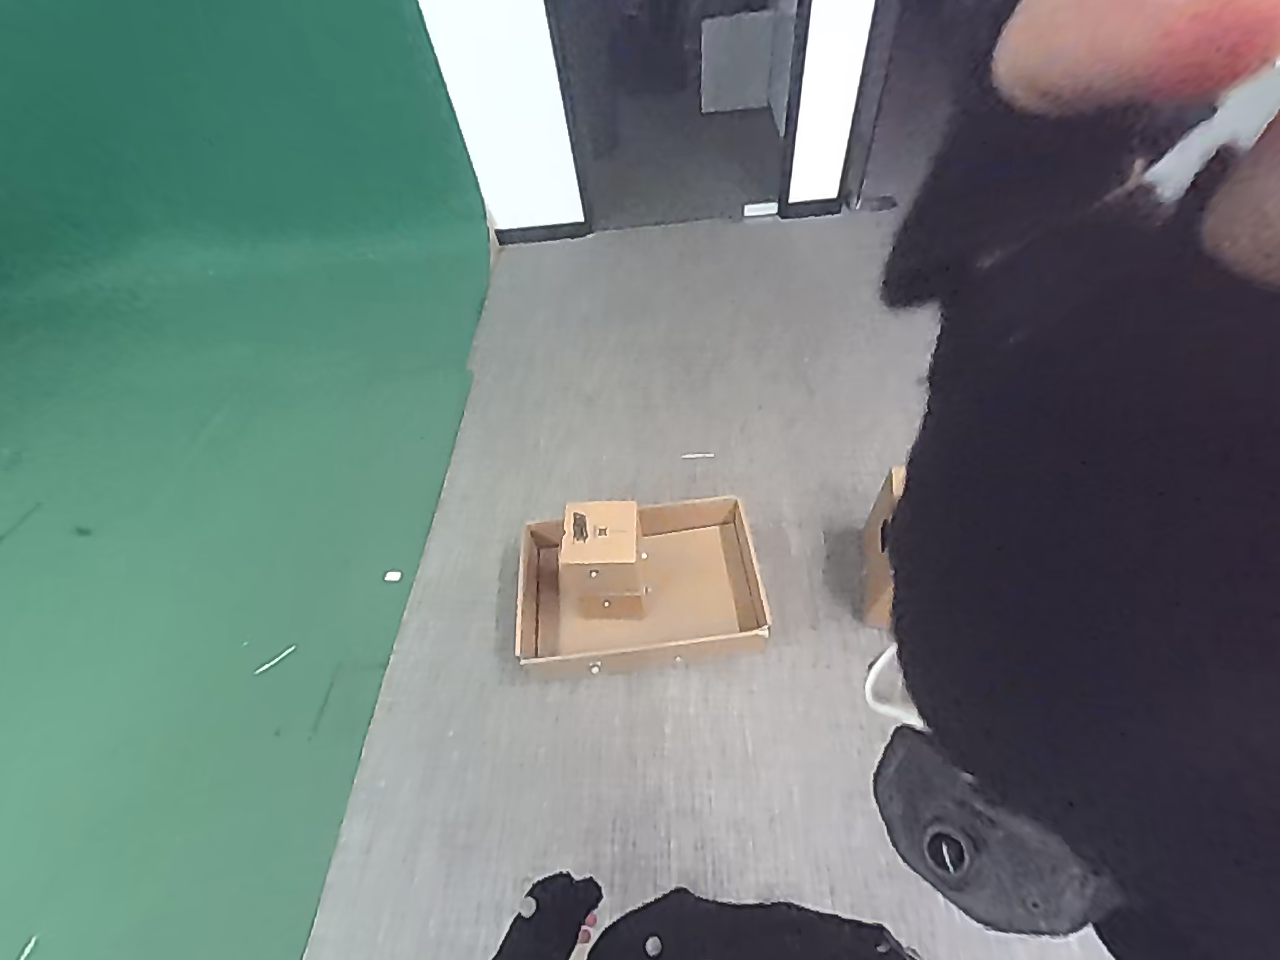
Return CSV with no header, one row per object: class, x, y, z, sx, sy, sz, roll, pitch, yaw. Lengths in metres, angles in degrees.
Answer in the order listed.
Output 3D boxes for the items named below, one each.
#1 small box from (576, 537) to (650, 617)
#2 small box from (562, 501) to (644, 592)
small box,-0.067,0.264,1.458,0.179,0.176,0.168,-1,55,3
small box,-0.083,0.167,1.326,0.179,0.176,0.168,-1,55,3
